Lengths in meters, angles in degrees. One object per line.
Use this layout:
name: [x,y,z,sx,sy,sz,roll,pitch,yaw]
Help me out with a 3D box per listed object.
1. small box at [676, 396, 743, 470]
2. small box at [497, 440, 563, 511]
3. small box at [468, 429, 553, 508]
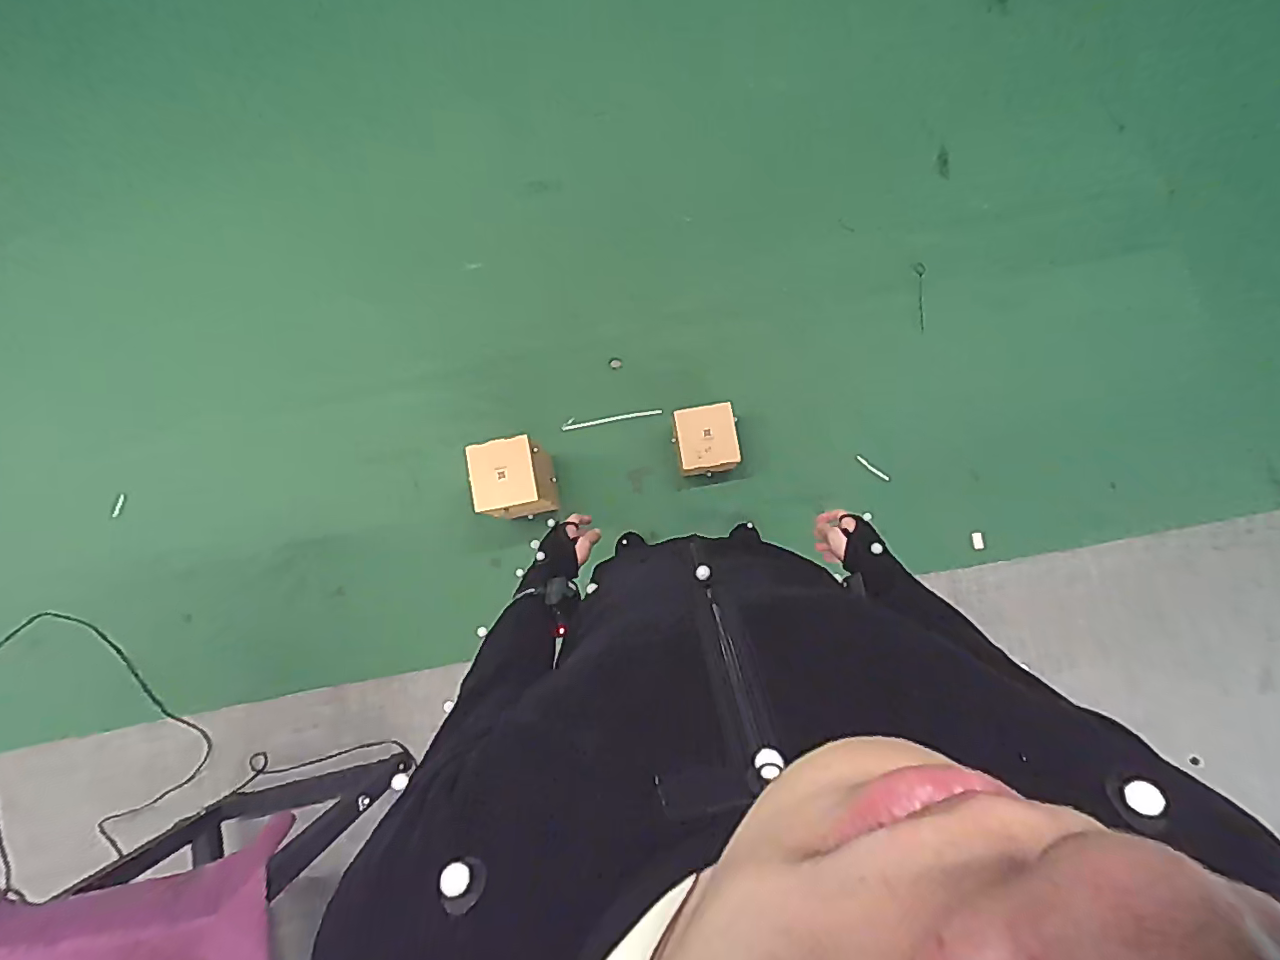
small box: [0.199,-0.133,1.596,0.168,0.176,0.179,-9,84,1]
small box: [-0.335,-0.008,1.606,0.168,0.176,0.179,-11,85,2]
small box: [-0.340,-0.024,1.445,0.168,0.176,0.179,-11,83,2]
